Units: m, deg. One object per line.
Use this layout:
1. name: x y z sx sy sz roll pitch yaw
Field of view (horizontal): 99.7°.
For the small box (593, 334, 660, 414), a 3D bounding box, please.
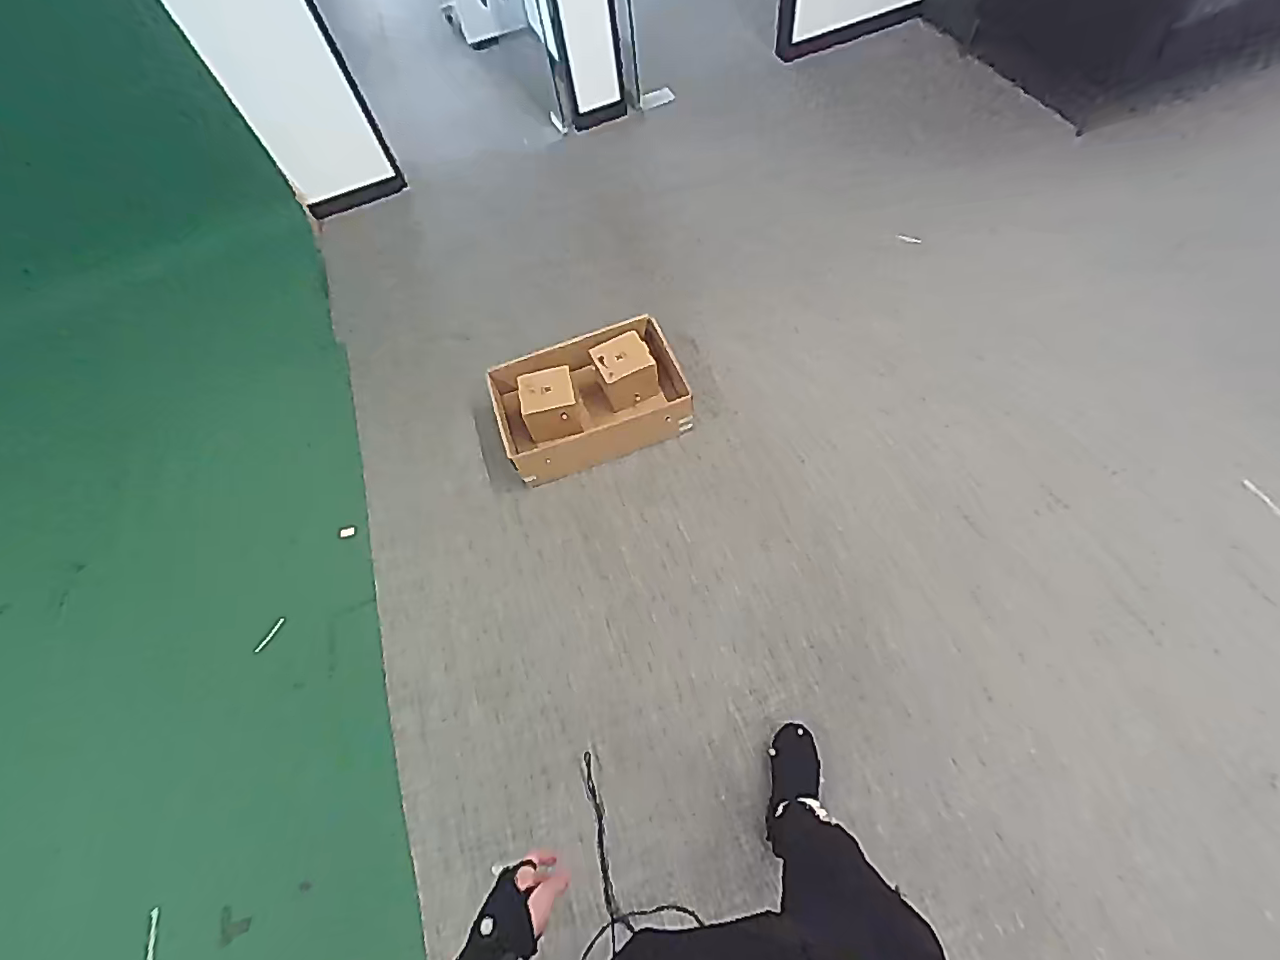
1. small box: -0.041 -0.358 1.837 0.179 0.176 0.168 -25 62 -5
